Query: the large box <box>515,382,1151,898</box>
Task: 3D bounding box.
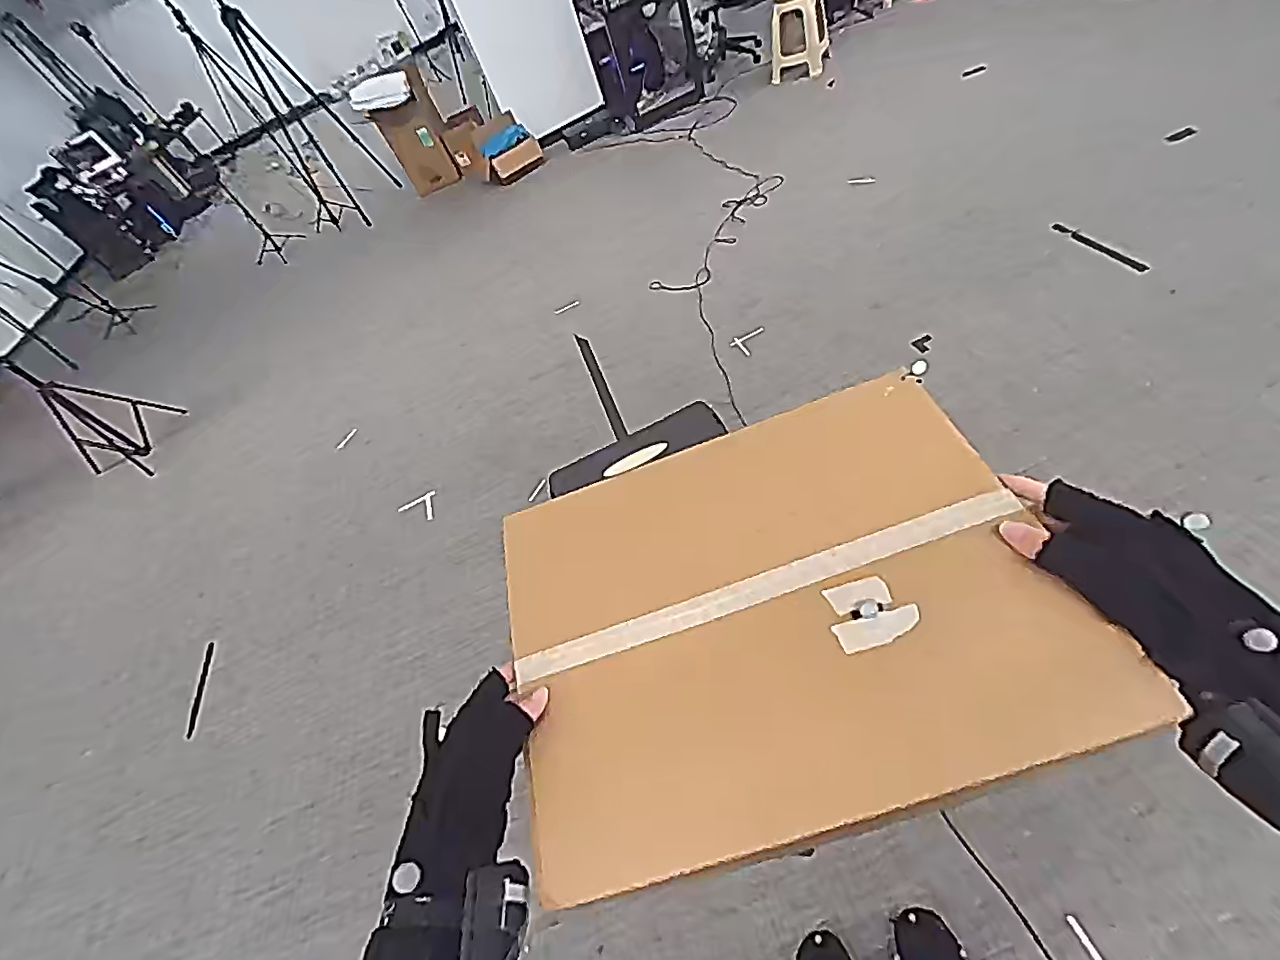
[{"bbox_3d":[0.133,0.173,0.549,0.408,0.320,0.320,-20,53,4],"label":"large box"}]
